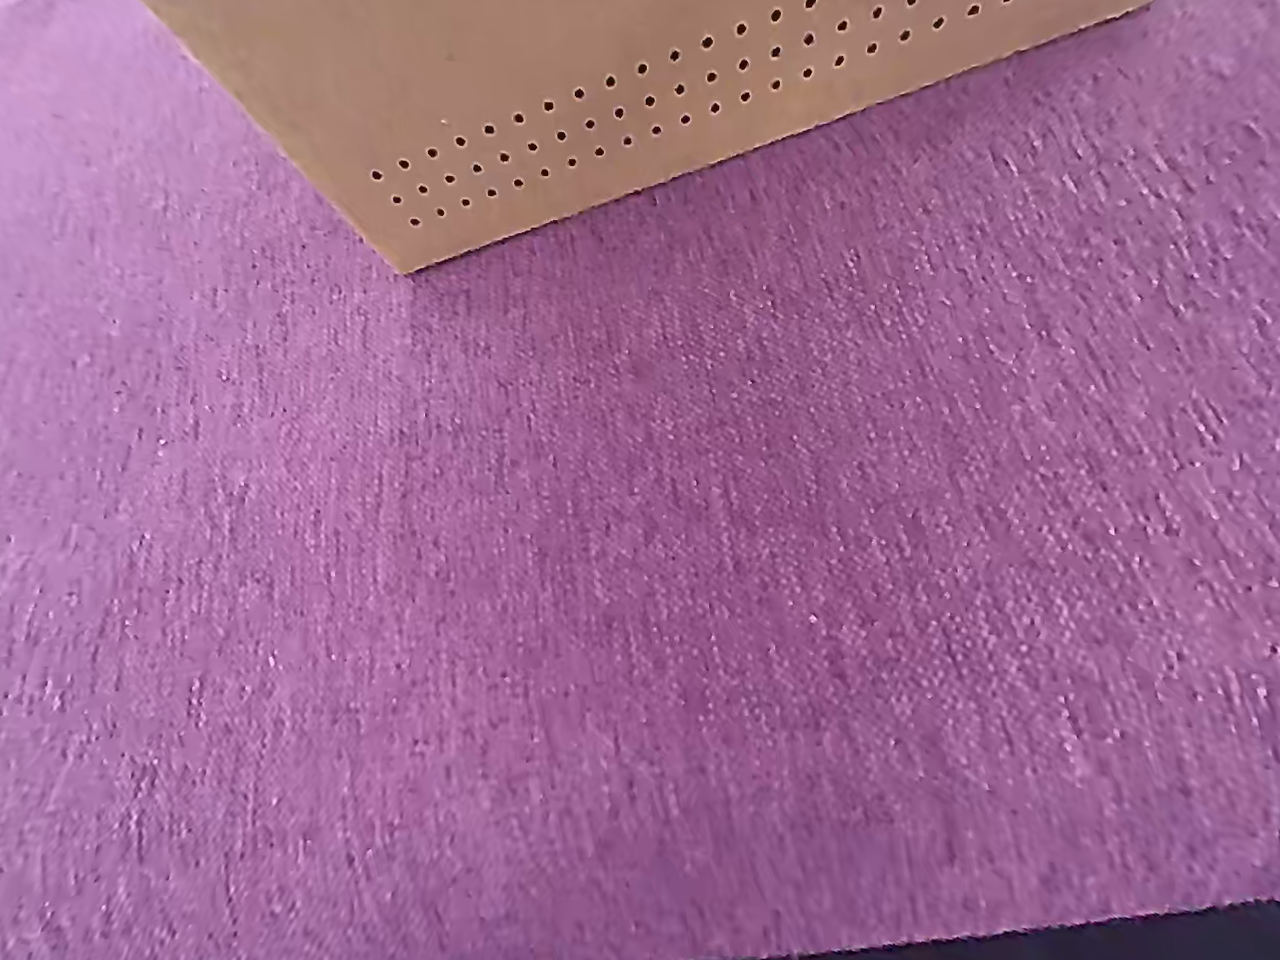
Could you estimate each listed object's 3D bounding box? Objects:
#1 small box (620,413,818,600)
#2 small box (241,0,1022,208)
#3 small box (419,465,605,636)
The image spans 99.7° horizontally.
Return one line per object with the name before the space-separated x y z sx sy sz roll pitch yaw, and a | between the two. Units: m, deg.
small box | 0.089 0.043 0.635 0.179 0.176 0.168 -14 76 4
small box | -0.007 -0.184 0.081 0.179 0.176 0.168 -15 67 9
small box | -0.153 0.100 0.695 0.179 0.176 0.168 -16 70 8
